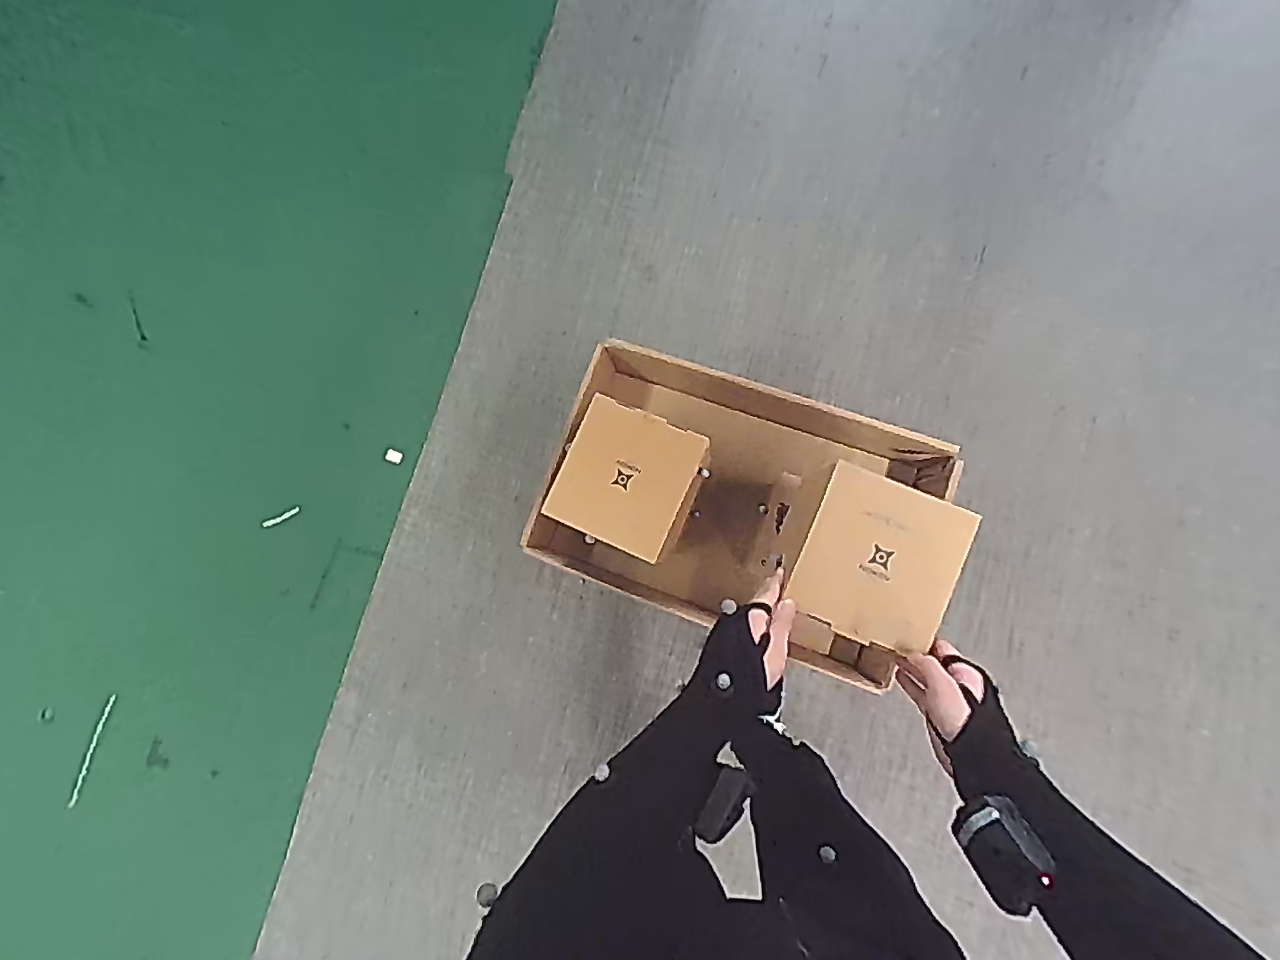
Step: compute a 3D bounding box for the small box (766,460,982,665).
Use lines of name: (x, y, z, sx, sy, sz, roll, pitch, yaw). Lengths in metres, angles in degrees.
small box: (0.268, 0.094, 0.666, 0.168, 0.176, 0.179, 24, 87, 5)

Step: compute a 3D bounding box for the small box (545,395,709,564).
small box: (-0.006, 0.008, 0.770, 0.168, 0.176, 0.179, 23, 85, 10)
